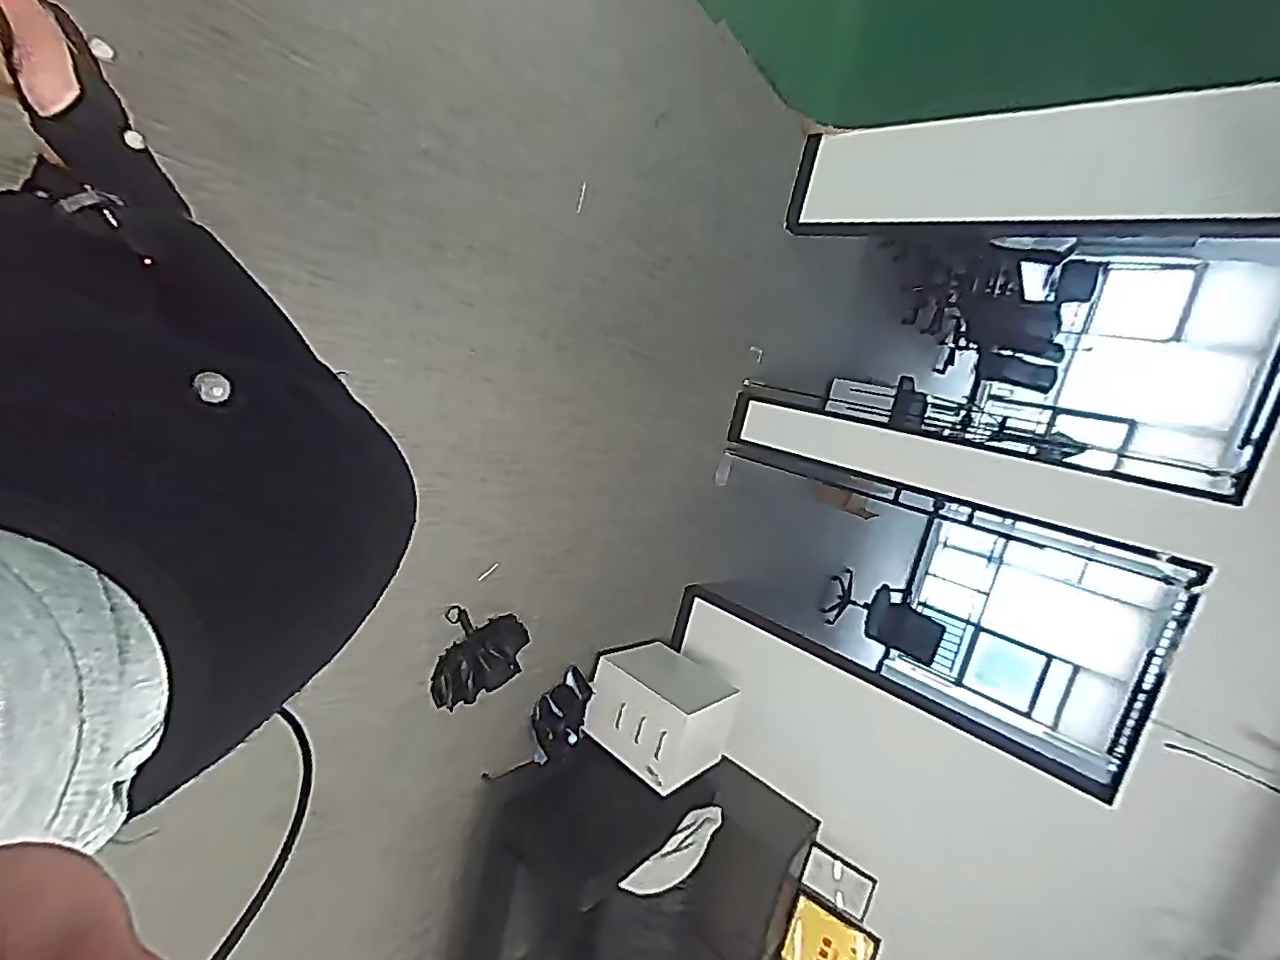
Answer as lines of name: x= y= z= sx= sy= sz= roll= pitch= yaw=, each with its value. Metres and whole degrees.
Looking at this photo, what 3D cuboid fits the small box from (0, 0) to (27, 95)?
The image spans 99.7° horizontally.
small box: x=-0.465 y=-0.322 z=0.268 sx=0.179 sy=0.176 sz=0.168 roll=-13 pitch=112 yaw=-40
